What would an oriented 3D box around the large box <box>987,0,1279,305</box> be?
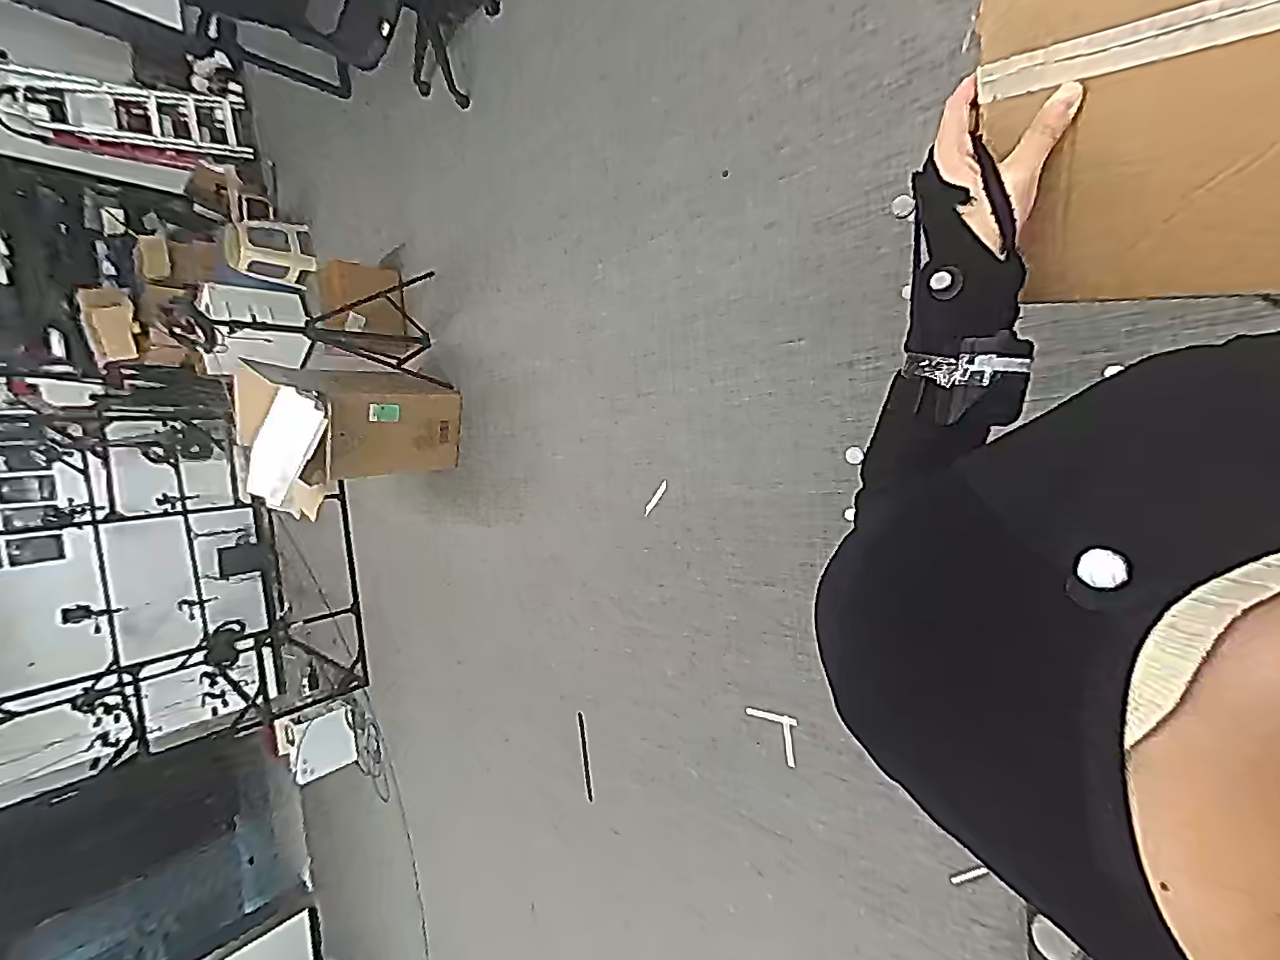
[{"bbox_3d":[0.454,-0.325,0.291,0.408,0.320,0.320,11,142,41],"label":"large box"}]
